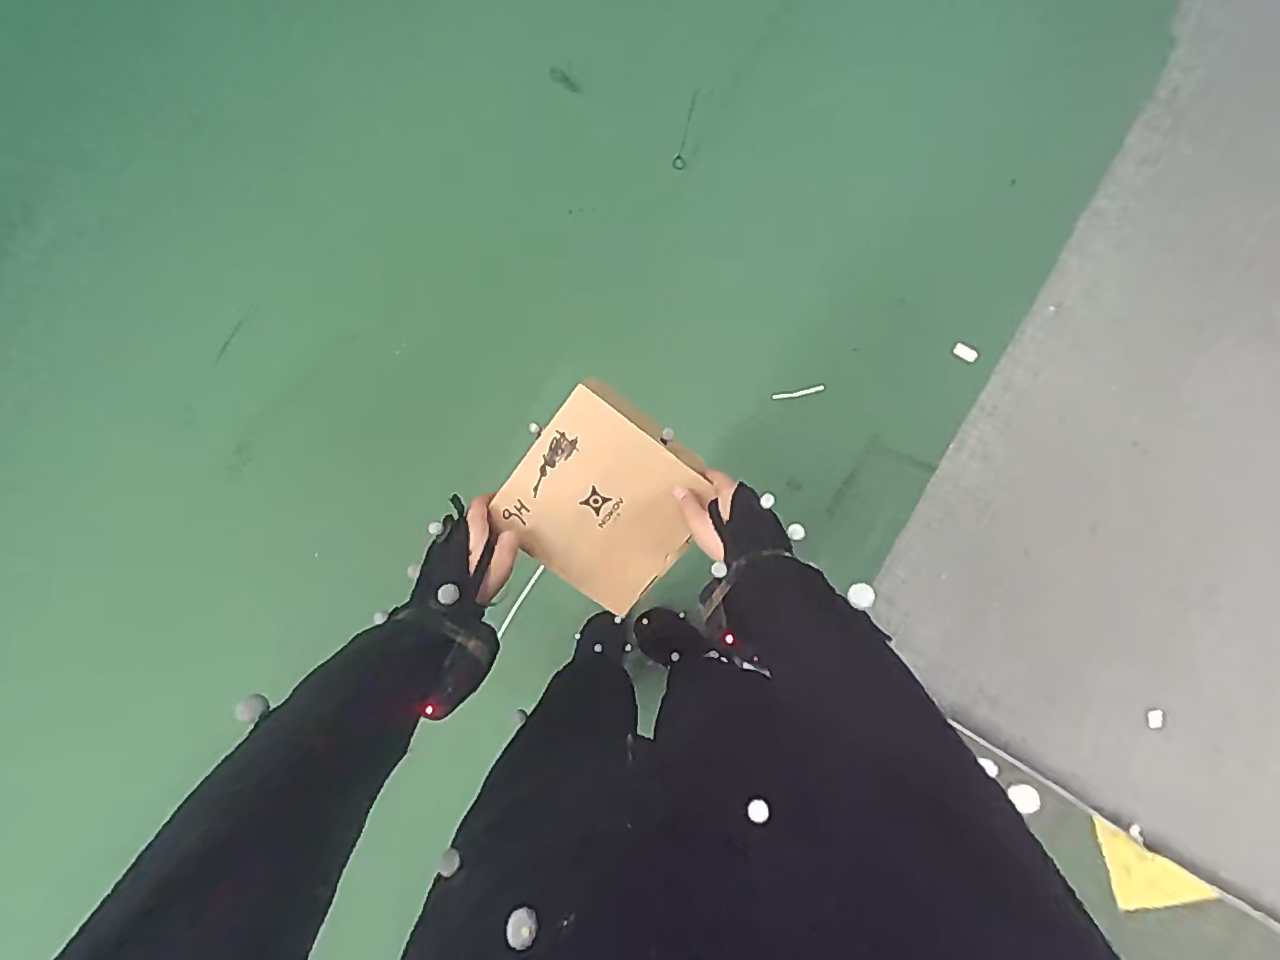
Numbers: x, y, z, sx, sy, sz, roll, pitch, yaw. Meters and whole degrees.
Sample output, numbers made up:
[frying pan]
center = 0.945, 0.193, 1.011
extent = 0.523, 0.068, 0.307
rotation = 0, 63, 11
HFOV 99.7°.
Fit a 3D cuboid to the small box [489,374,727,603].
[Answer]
[small box]
center = -0.031, -0.005, 0.600
extent = 0.179, 0.176, 0.168
rotation = 37, 101, -9
